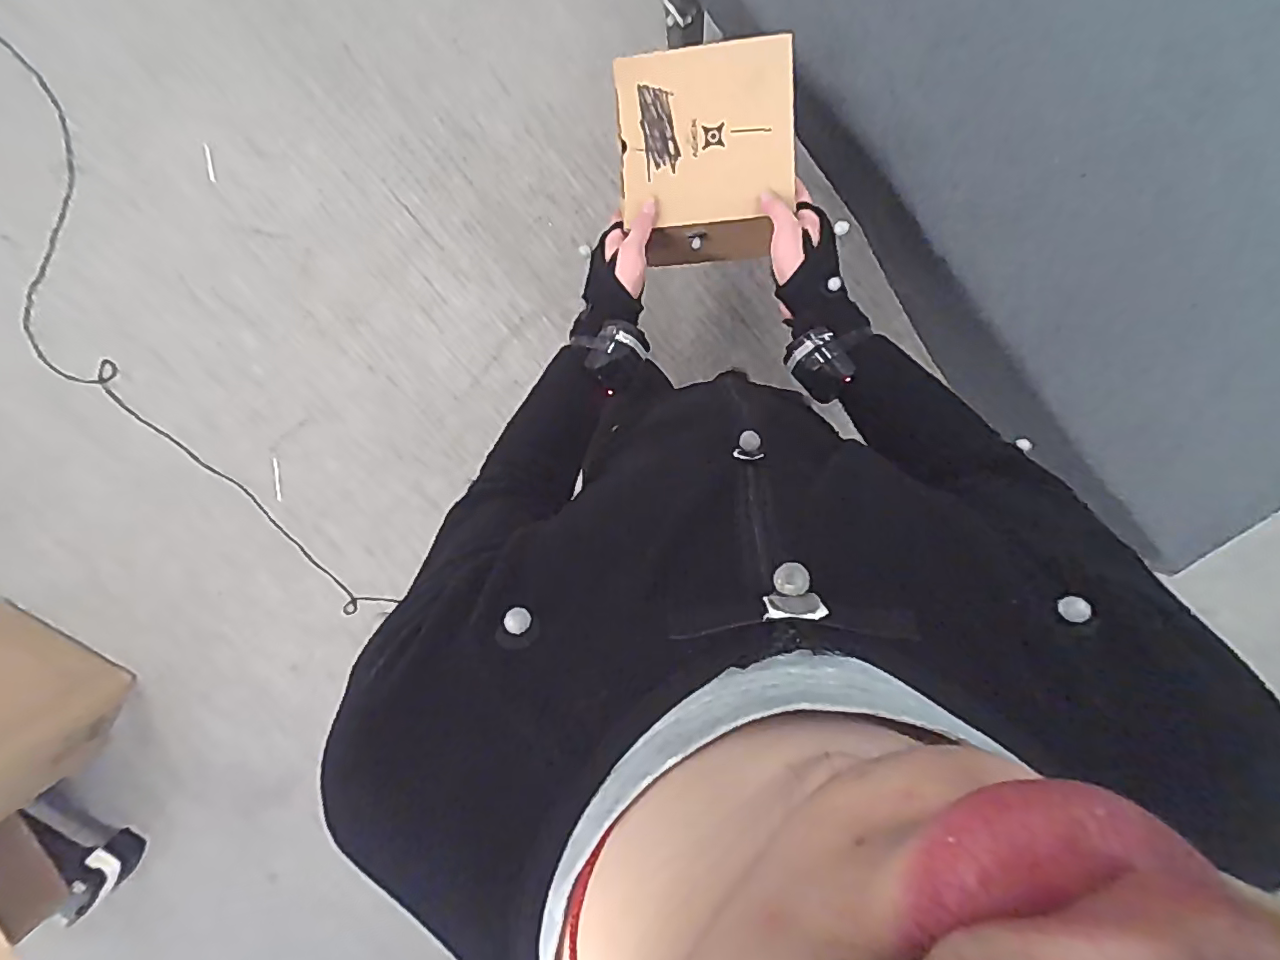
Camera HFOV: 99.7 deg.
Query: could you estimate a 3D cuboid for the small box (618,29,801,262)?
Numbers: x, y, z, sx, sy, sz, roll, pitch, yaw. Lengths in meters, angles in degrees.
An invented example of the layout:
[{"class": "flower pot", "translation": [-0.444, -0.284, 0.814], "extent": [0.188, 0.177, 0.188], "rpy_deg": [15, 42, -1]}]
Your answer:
[{"class": "small box", "translation": [0.077, -0.353, 0.608], "extent": [0.179, 0.176, 0.168], "rpy_deg": [-3, 99, 6]}]
